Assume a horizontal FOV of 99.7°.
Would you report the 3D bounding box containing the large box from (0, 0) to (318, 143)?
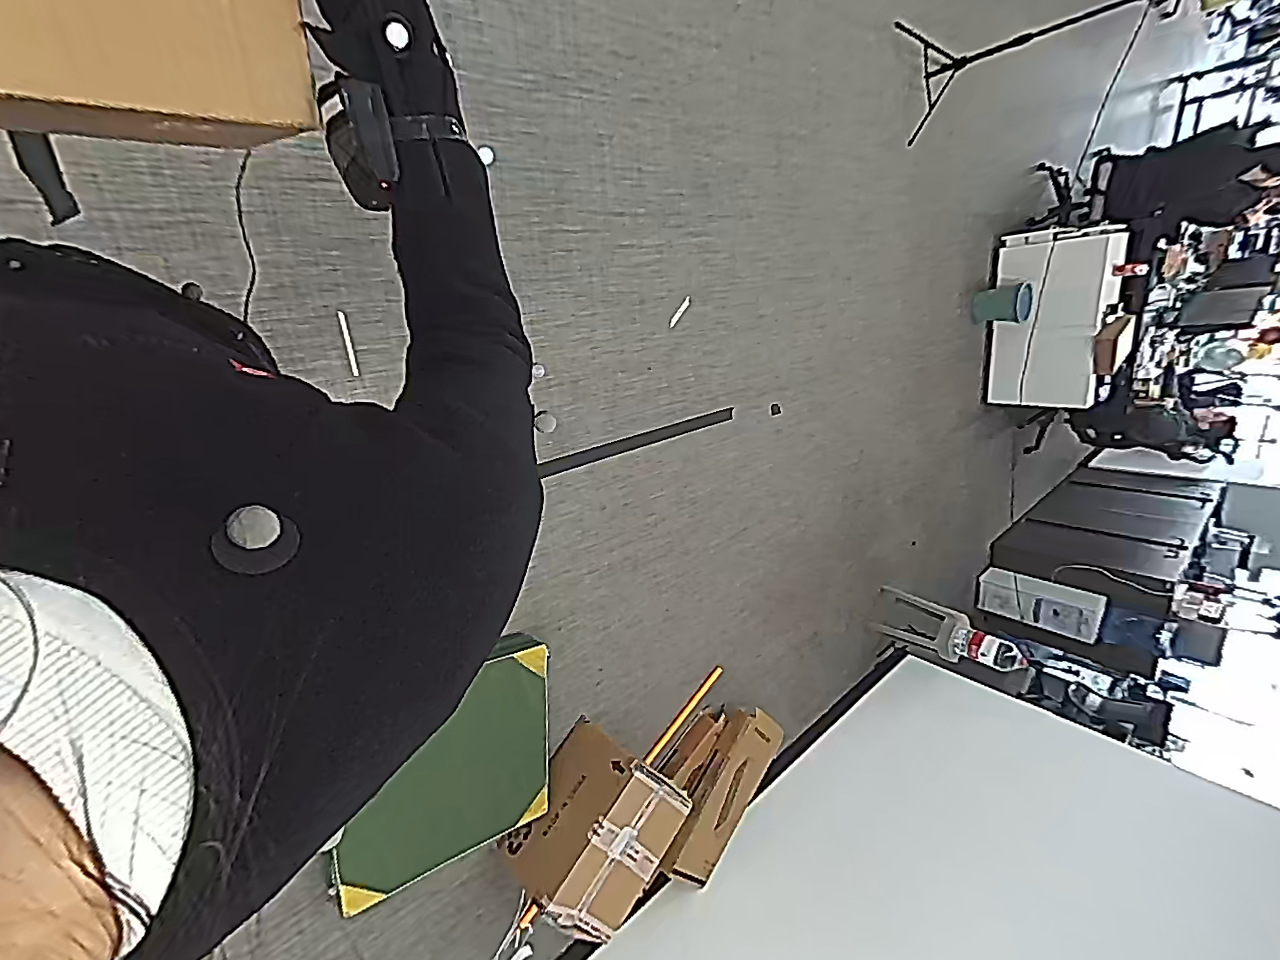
[{"bbox_3d":[-0.458,-0.373,0.276,0.408,0.320,0.320,-20,126,-36],"label":"large box"}]
